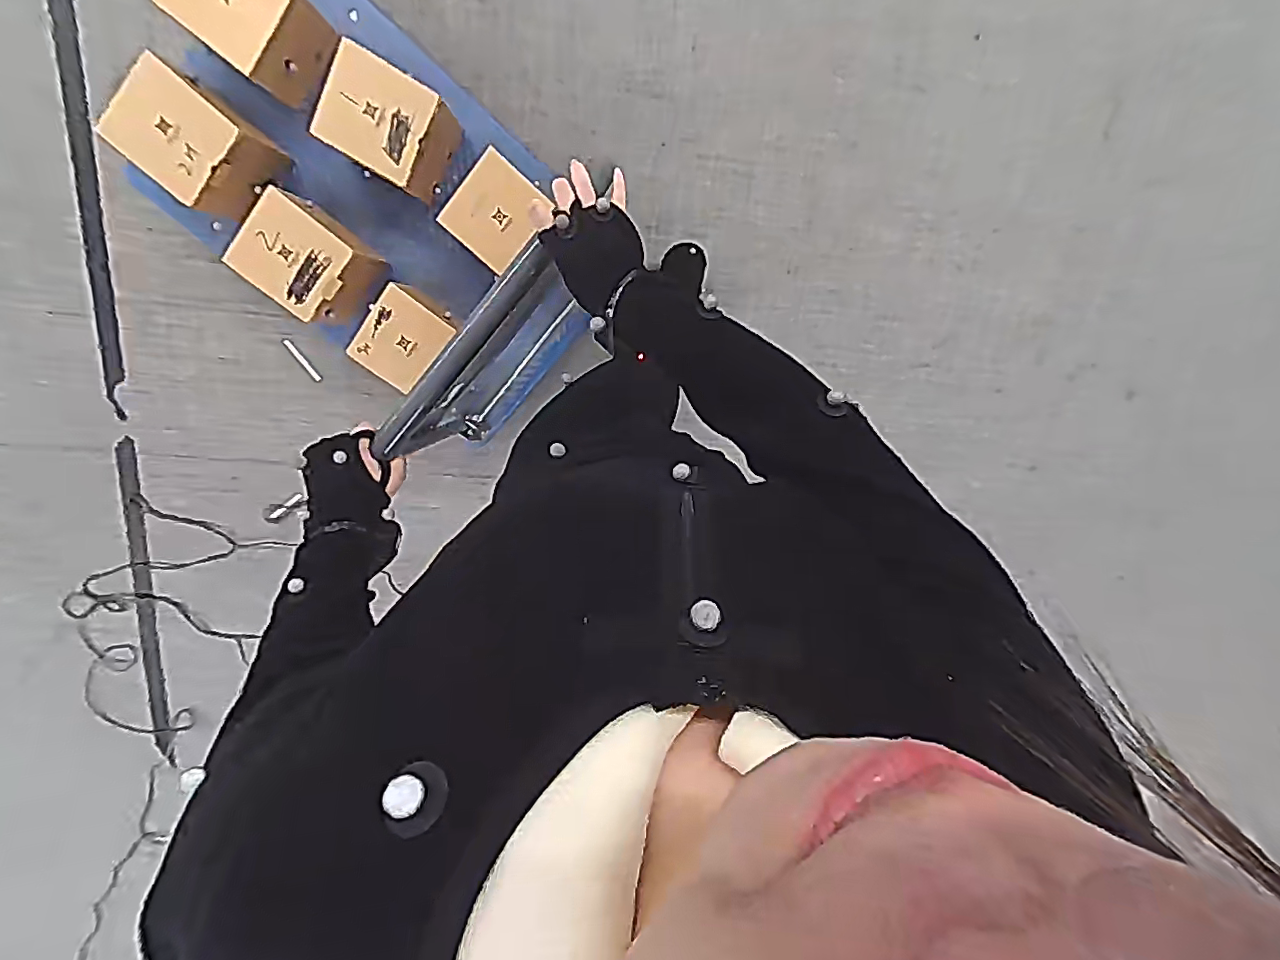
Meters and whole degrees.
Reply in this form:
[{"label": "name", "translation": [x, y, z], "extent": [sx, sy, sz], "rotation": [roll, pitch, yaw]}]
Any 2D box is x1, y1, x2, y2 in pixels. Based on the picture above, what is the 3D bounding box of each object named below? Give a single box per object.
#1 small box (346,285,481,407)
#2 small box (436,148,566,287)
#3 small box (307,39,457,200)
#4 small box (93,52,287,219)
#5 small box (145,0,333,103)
[{"label": "small box", "translation": [-0.452, -0.277, 1.112], "extent": [0.179, 0.176, 0.168], "rotation": [36, 99, -14]}, {"label": "small box", "translation": [-0.261, -0.501, 1.066], "extent": [0.179, 0.176, 0.168], "rotation": [39, 99, -13]}, {"label": "small box", "translation": [-0.464, -0.649, 1.005], "extent": [0.179, 0.176, 0.168], "rotation": [27, 102, -11]}, {"label": "small box", "translation": [-0.804, -0.608, 0.986], "extent": [0.179, 0.176, 0.168], "rotation": [40, 100, -15]}, {"label": "small box", "translation": [-0.681, -0.802, 0.942], "extent": [0.179, 0.176, 0.168], "rotation": [36, 100, -14]}]
